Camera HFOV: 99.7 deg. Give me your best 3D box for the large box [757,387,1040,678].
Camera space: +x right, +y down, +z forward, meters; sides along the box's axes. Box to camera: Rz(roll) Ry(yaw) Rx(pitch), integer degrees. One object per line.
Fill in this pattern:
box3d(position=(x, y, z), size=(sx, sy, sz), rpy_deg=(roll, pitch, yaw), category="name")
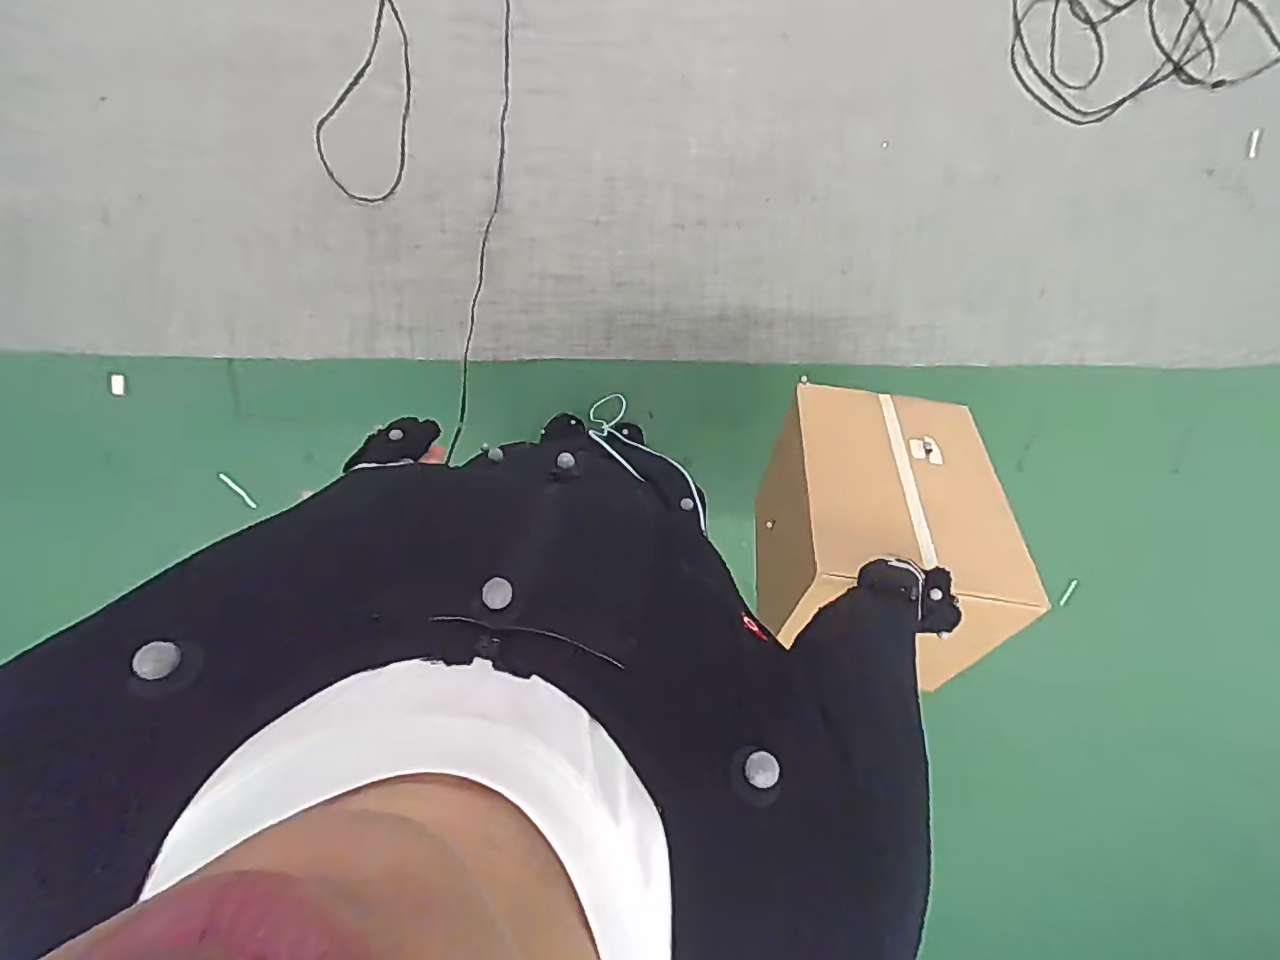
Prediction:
box3d(position=(0.402, 0.093, 0.973), size=(0.320, 0.408, 0.320), rpy_deg=(9, 139, 0), category="large box")
